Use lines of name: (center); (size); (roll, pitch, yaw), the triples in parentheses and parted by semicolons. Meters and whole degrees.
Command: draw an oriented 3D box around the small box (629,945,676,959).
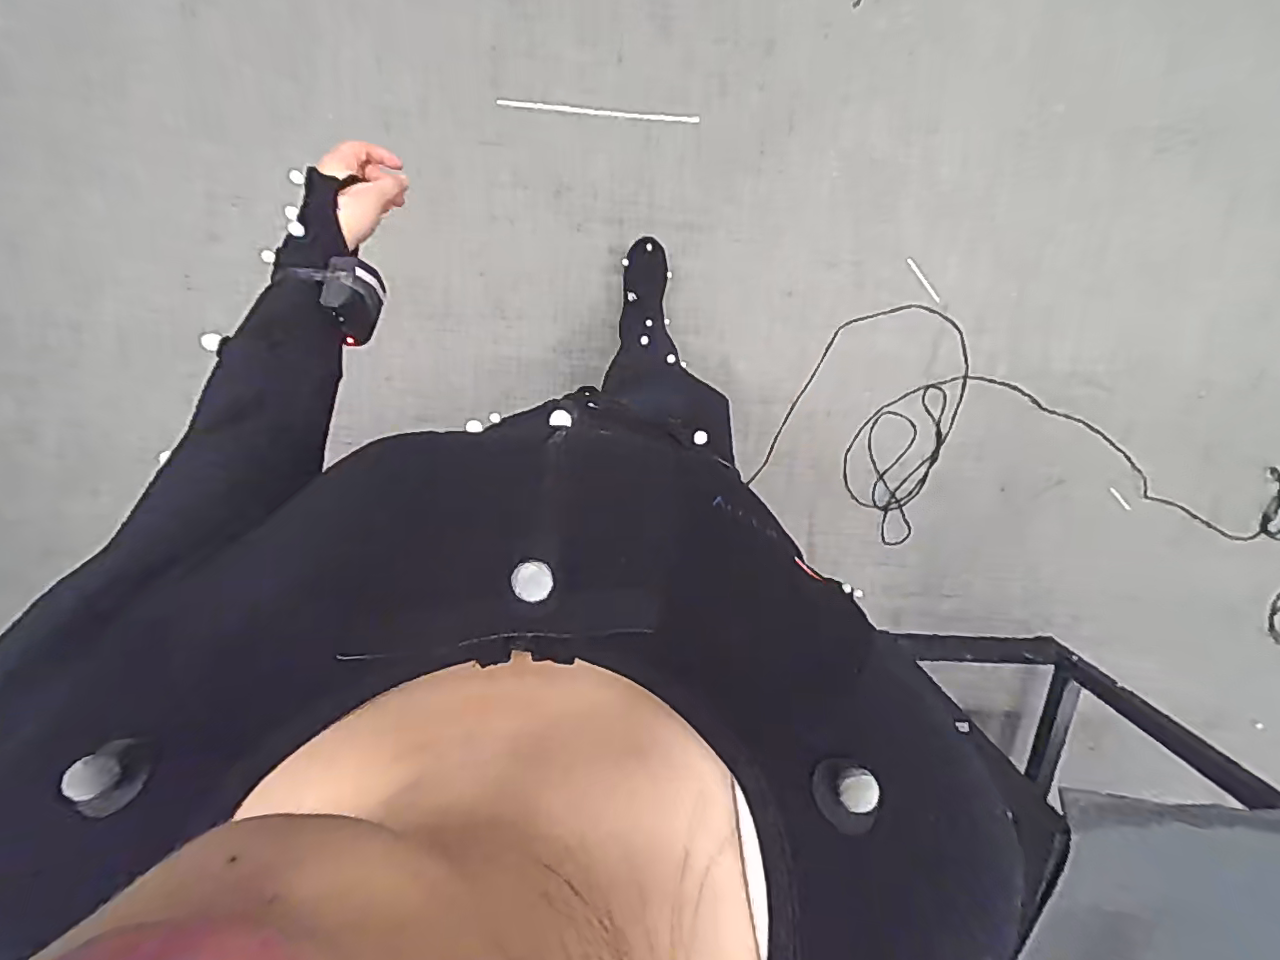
small box: (0.034, 1.750, 1.849); (0.168, 0.176, 0.179); (20, 102, -7)
